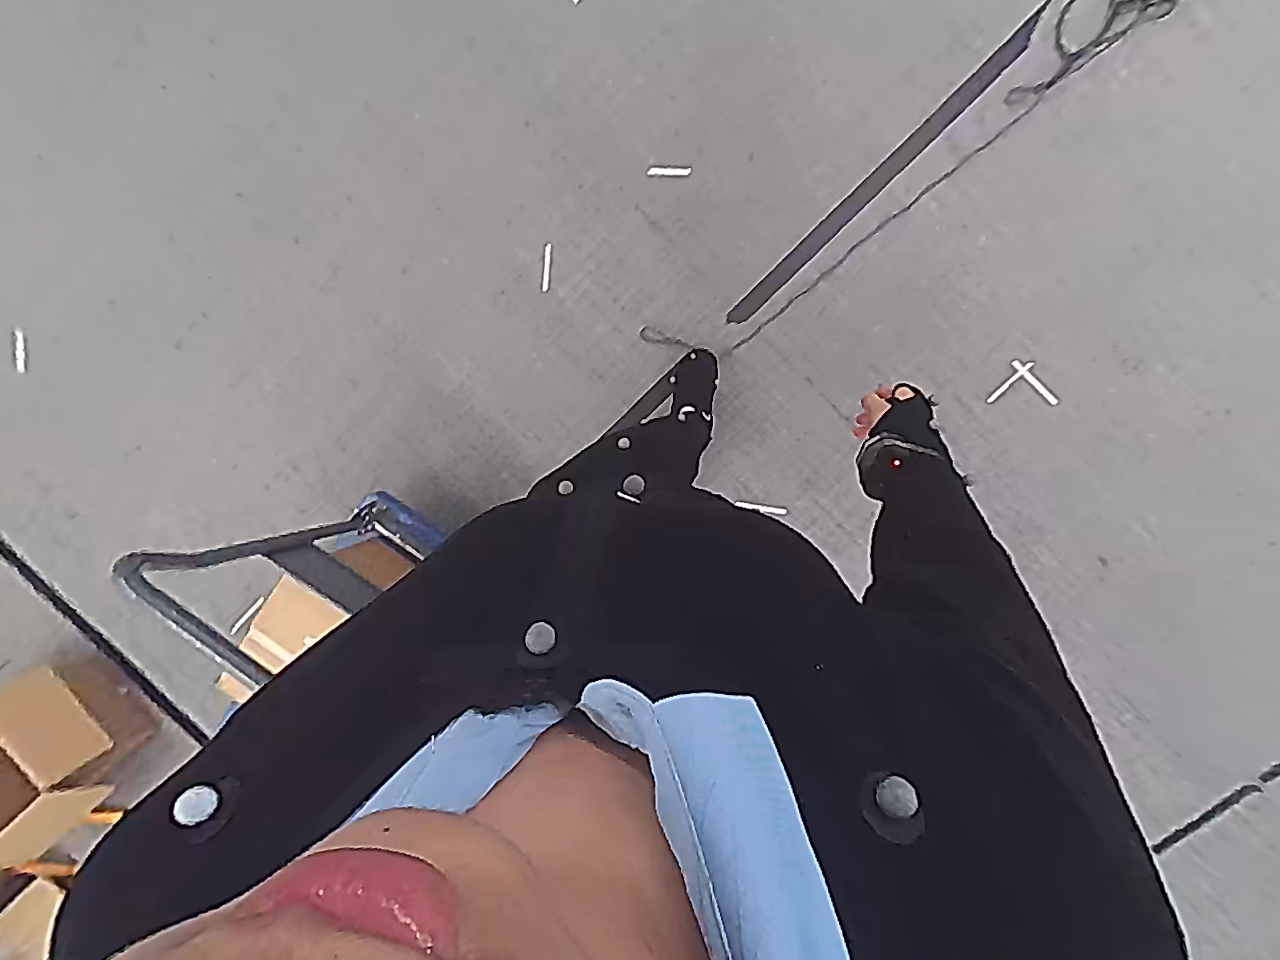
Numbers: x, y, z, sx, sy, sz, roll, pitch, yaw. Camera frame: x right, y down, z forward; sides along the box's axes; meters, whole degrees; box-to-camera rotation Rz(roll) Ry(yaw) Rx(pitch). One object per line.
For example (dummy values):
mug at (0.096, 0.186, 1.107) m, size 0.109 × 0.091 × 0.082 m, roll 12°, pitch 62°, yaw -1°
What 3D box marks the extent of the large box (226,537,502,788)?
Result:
large box at (-0.603, 0.392, 1.249) m, size 0.408 × 0.320 × 0.320 m, roll 36°, pitch 97°, yaw 1°
